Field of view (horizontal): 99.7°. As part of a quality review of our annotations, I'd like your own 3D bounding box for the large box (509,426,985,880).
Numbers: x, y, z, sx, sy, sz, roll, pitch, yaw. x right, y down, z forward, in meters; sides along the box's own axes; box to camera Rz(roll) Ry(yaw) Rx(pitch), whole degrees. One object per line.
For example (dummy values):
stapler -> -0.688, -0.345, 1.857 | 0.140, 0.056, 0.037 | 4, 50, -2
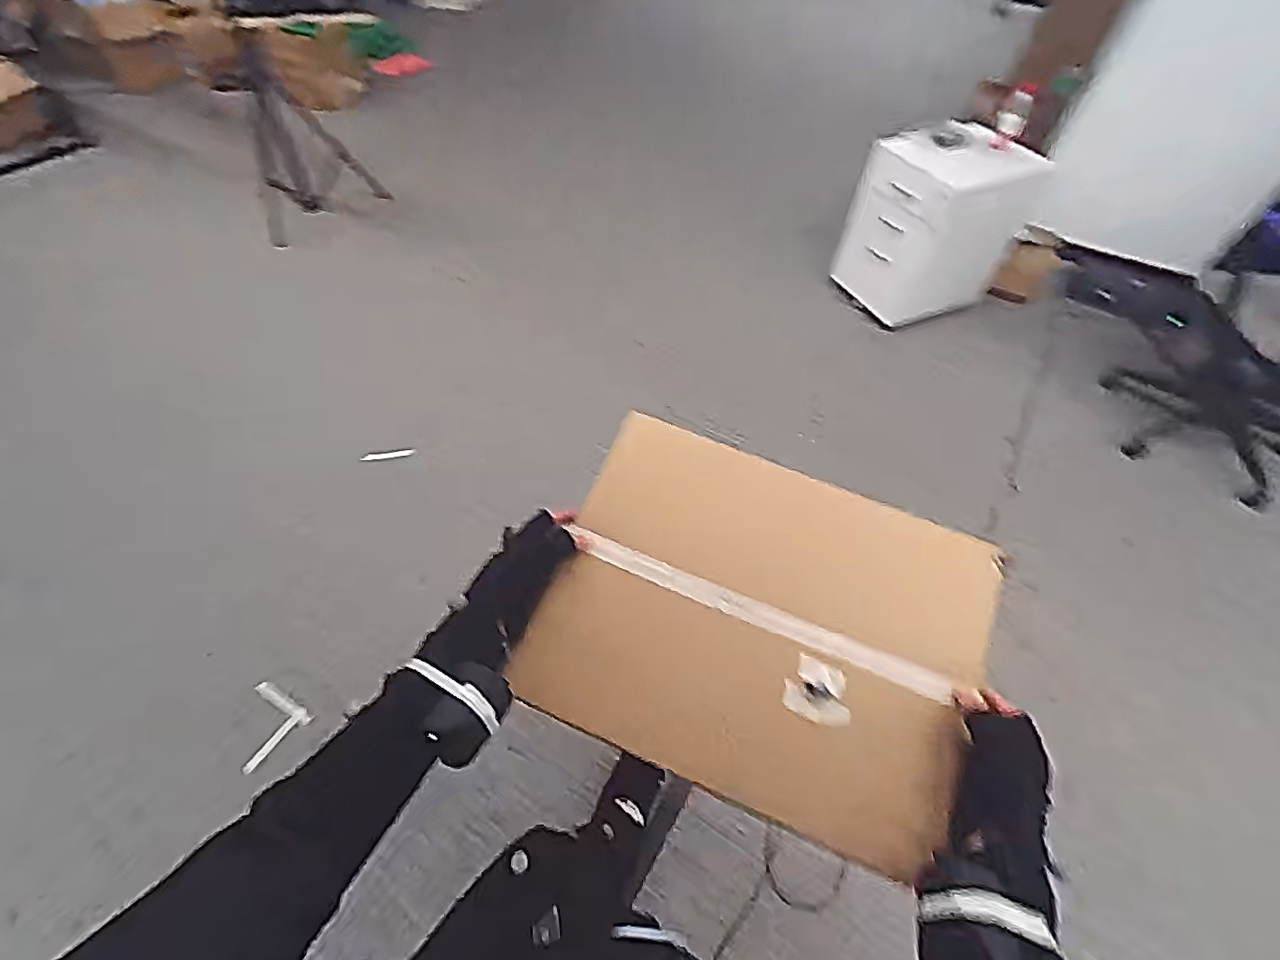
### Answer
large box -> 0.113, 0.192, 0.664 | 0.408, 0.320, 0.320 | 22, 69, 9
